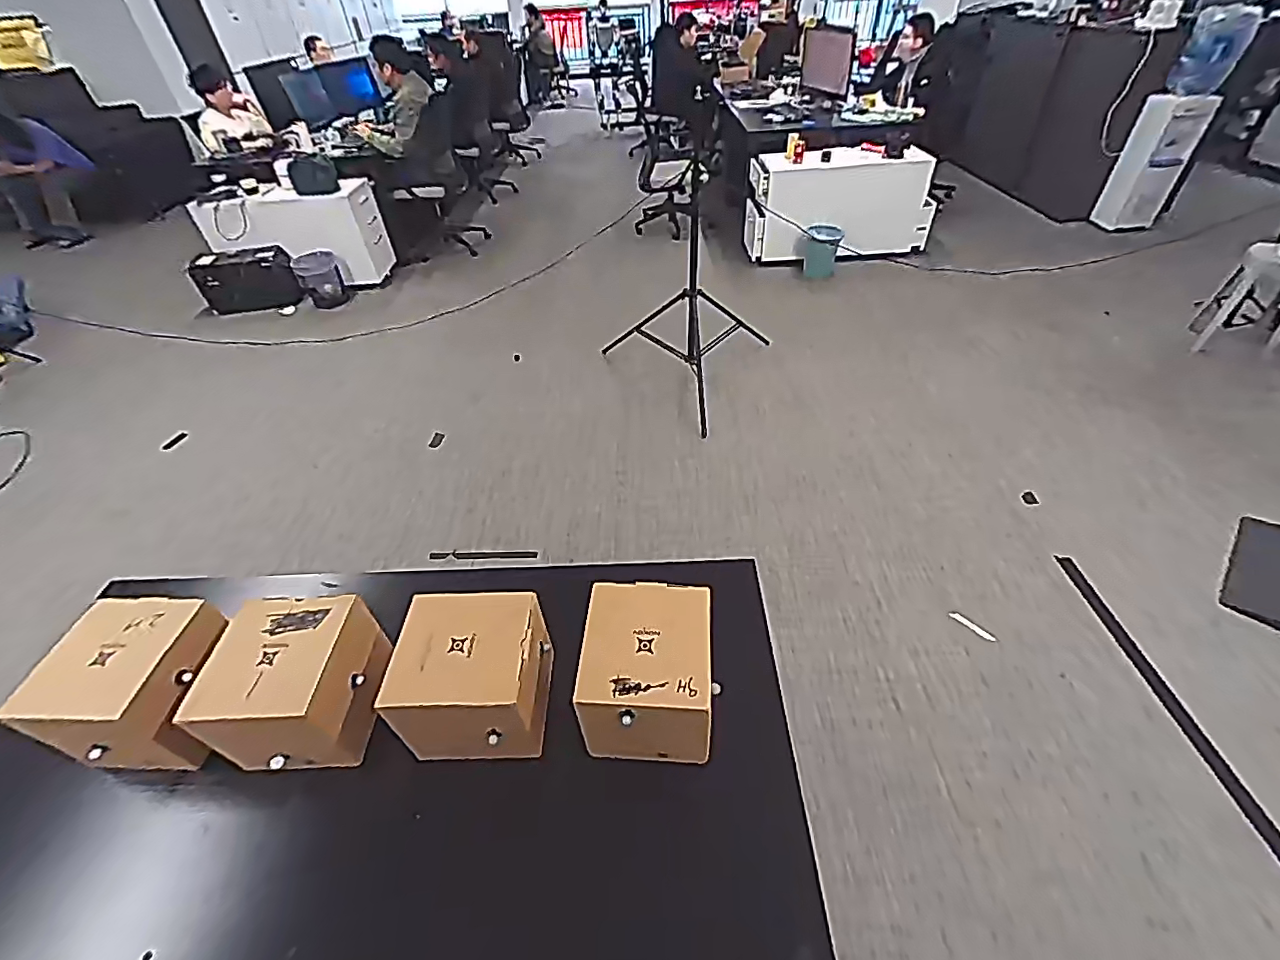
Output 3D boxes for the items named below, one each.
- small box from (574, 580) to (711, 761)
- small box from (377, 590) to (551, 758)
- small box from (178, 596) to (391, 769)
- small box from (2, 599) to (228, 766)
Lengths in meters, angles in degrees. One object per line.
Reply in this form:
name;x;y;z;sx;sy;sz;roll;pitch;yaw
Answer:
small box;0.012;0.262;0.752;0.168;0.176;0.179;1;42;6
small box;-0.229;0.274;0.762;0.179;0.176;0.168;-3;42;2
small box;-0.477;0.286;0.765;0.168;0.176;0.179;-3;44;0
small box;-0.701;0.292;0.777;0.168;0.176;0.179;0;43;3
